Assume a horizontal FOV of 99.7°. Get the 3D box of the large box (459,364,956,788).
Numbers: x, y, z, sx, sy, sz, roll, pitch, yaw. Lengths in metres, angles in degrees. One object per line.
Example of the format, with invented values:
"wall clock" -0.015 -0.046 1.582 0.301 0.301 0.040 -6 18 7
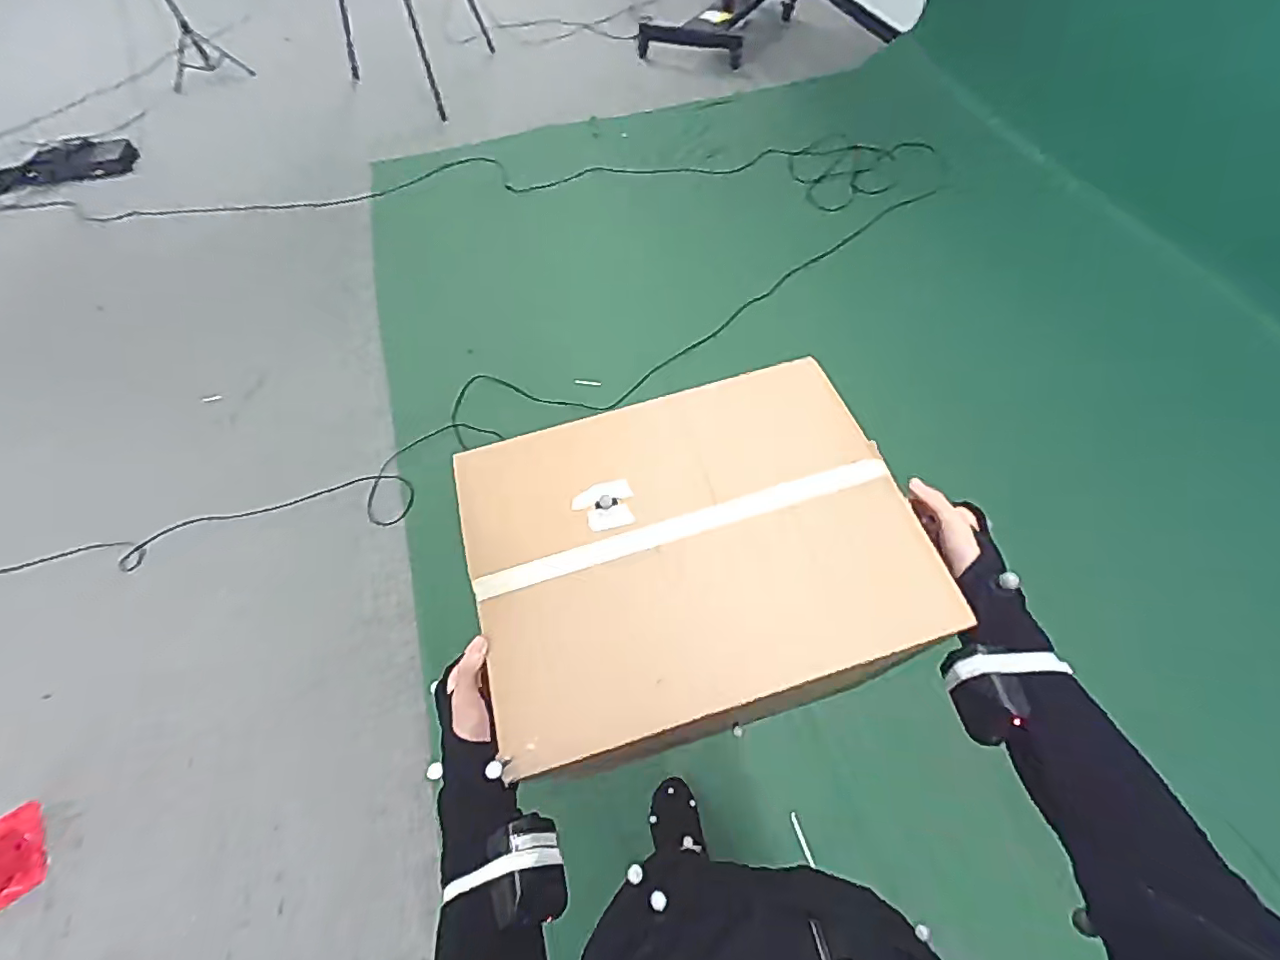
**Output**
"large box" 0.054 0.126 0.647 0.408 0.320 0.320 -18 61 -5
